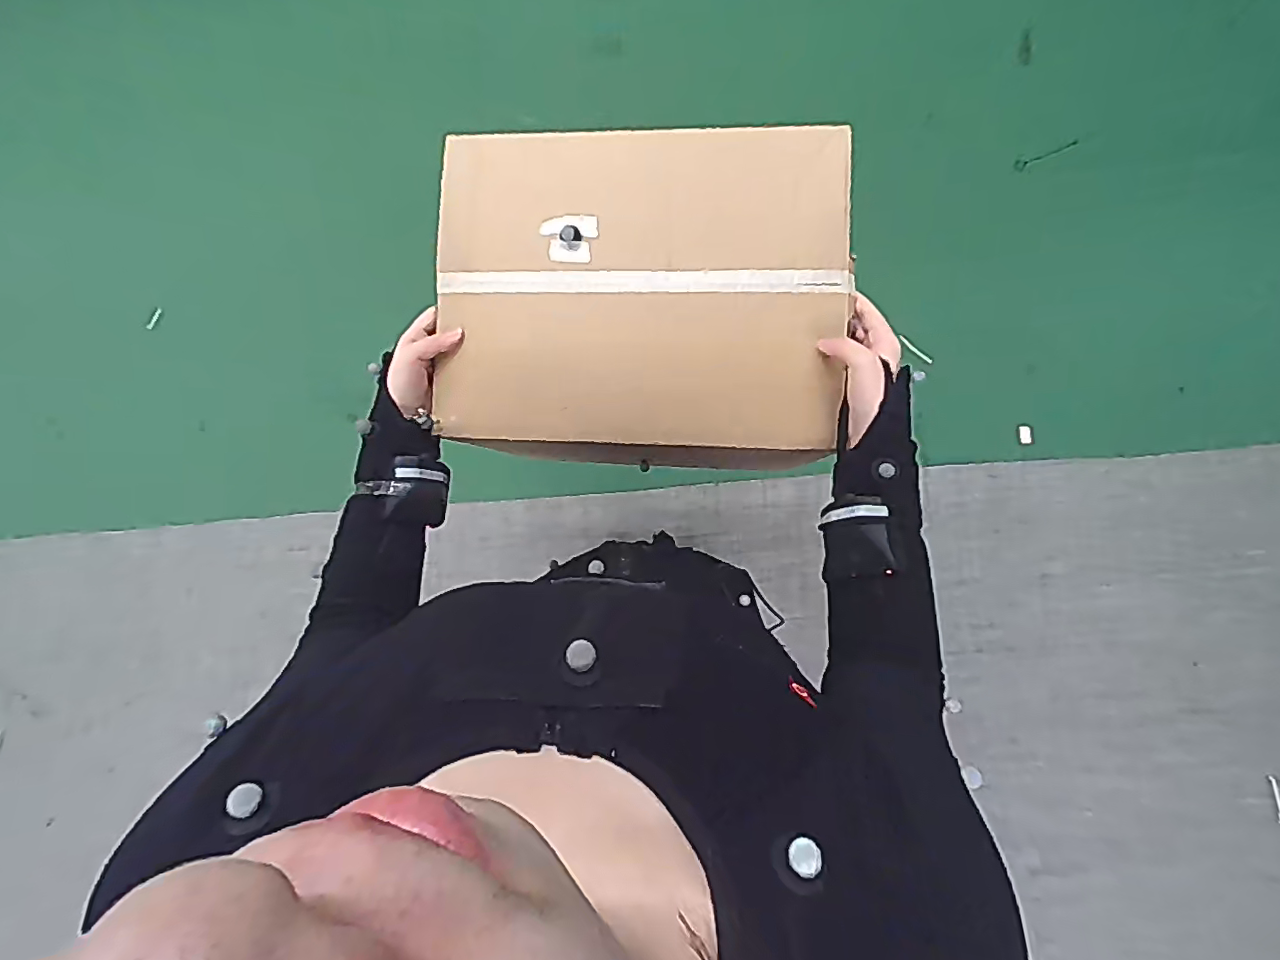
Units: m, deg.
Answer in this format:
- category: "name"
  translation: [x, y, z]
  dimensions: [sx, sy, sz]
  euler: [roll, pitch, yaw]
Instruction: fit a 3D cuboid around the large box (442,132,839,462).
- category: "large box"
  translation: [0.013, -0.186, 0.692]
  dimensions: [0.408, 0.320, 0.320]
  euler: [2, 87, 7]
